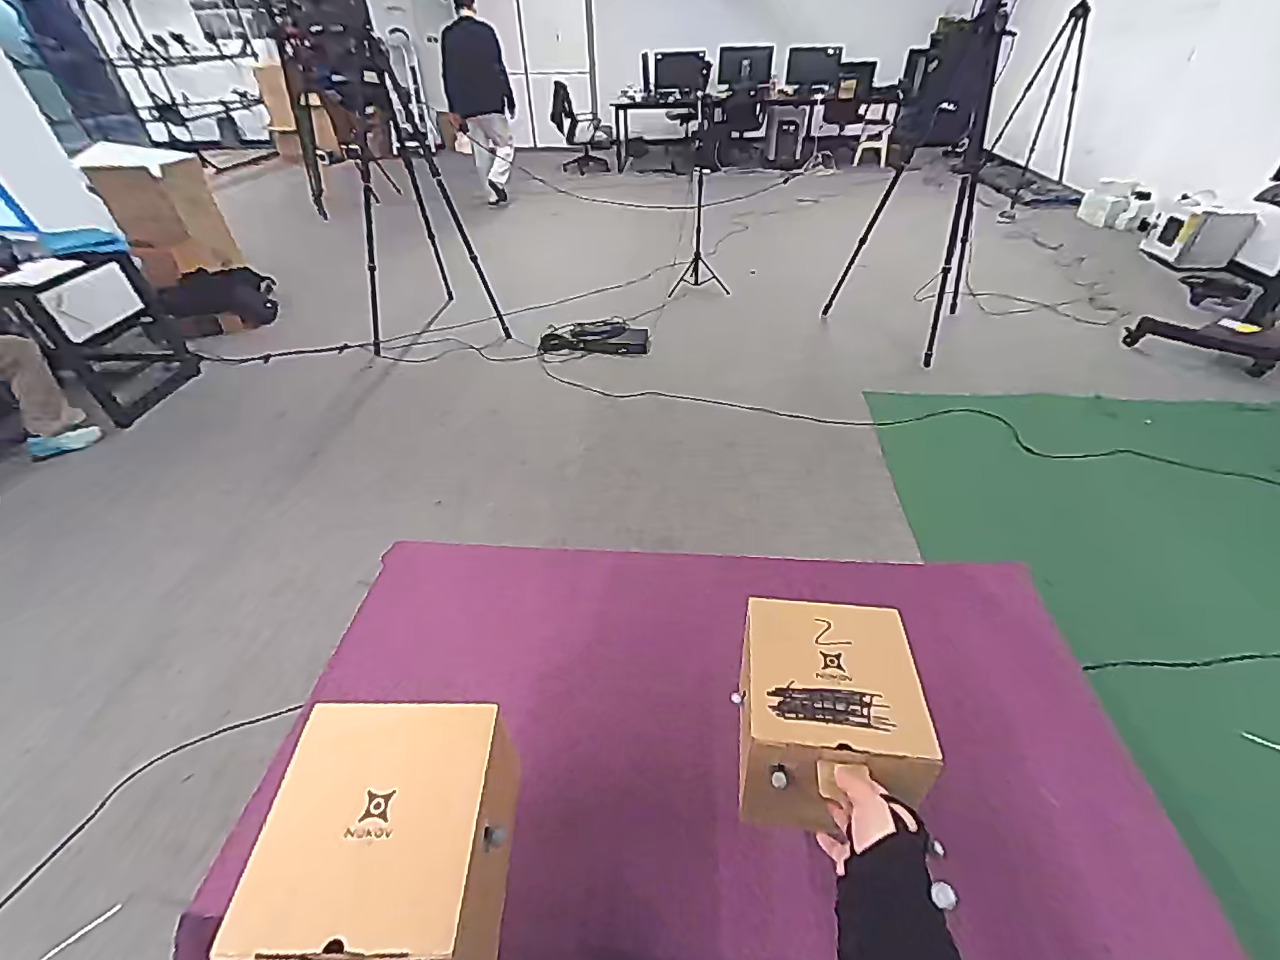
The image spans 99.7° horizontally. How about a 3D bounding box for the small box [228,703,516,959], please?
[{"bbox_3d":[-0.215,0.327,0.498,0.168,0.176,0.179,1,45,-1],"label":"small box"}]
